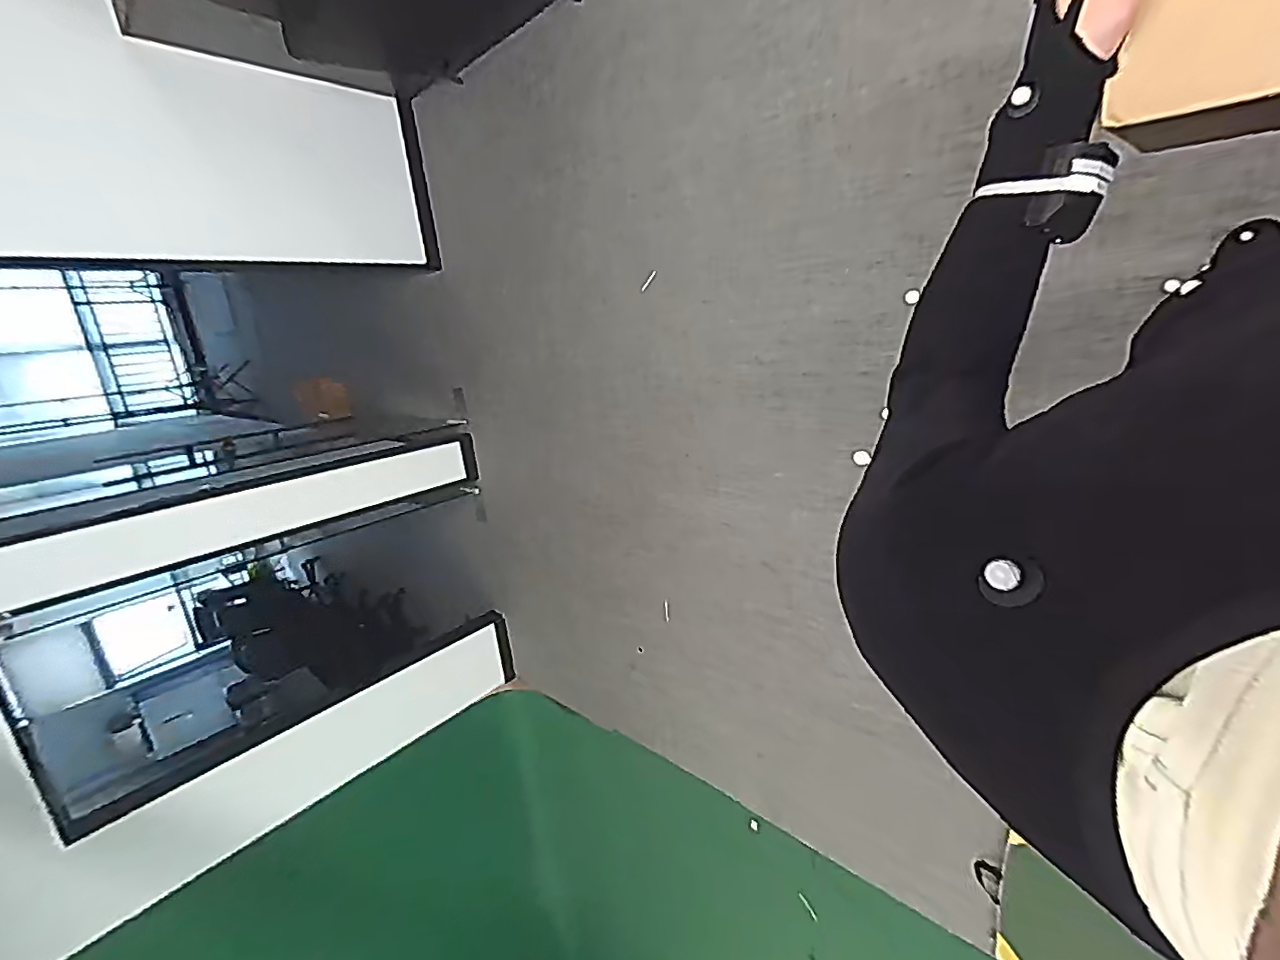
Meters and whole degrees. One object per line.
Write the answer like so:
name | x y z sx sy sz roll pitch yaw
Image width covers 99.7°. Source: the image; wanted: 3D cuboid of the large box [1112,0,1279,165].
large box | 0.600 -0.434 0.348 0.408 0.320 0.320 12 117 43
